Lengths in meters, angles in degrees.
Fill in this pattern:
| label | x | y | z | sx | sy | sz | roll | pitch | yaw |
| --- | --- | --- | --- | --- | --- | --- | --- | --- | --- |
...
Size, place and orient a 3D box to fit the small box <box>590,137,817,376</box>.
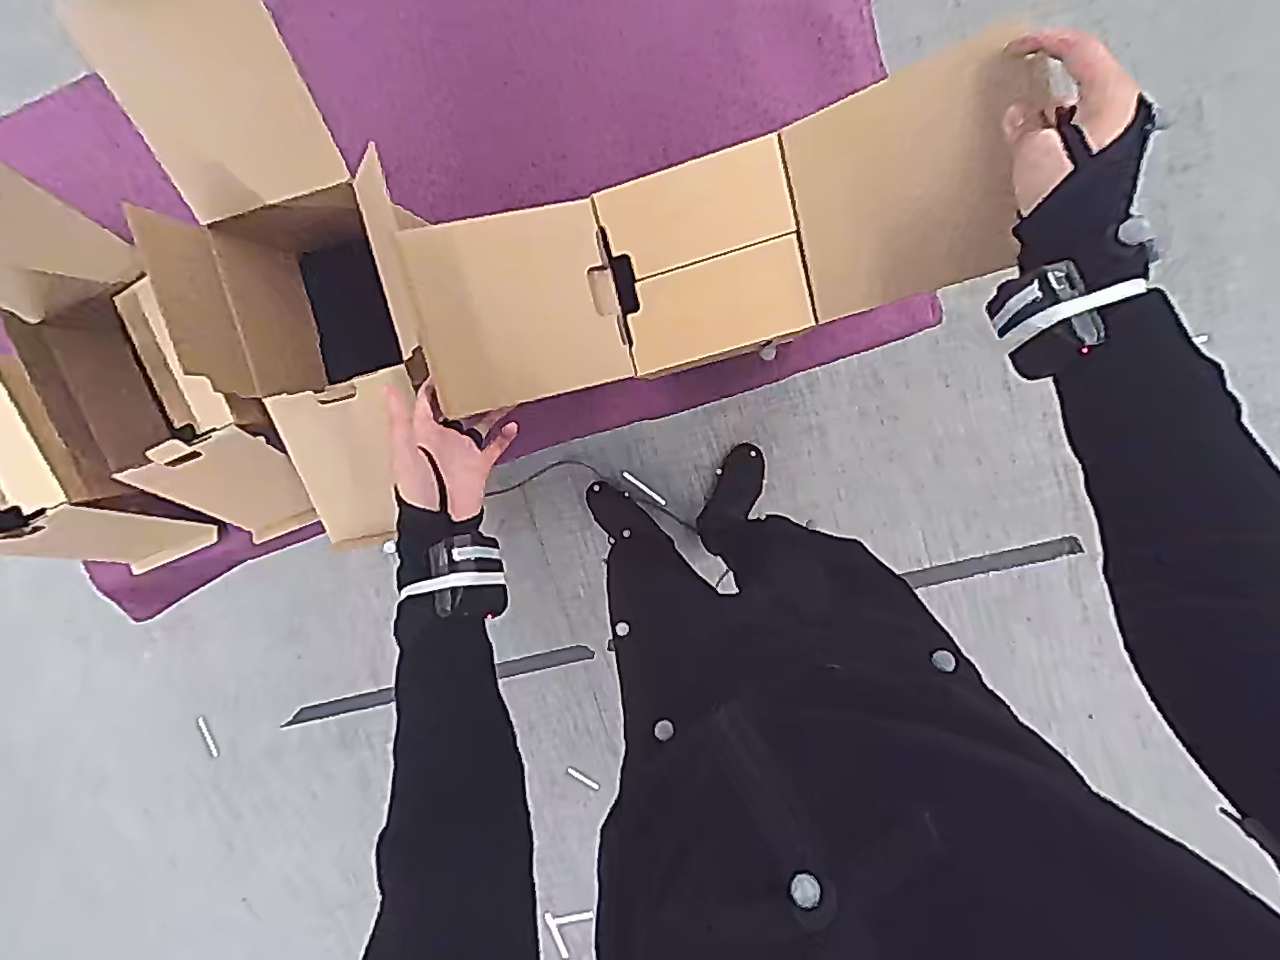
| label | x | y | z | sx | sy | sz | roll | pitch | yaw |
| --- | --- | --- | --- | --- | --- | --- | --- | --- | --- |
| small box | 0.064 | -0.208 | 0.557 | 0.179 | 0.176 | 0.168 | -13 | 98 | 9 |
